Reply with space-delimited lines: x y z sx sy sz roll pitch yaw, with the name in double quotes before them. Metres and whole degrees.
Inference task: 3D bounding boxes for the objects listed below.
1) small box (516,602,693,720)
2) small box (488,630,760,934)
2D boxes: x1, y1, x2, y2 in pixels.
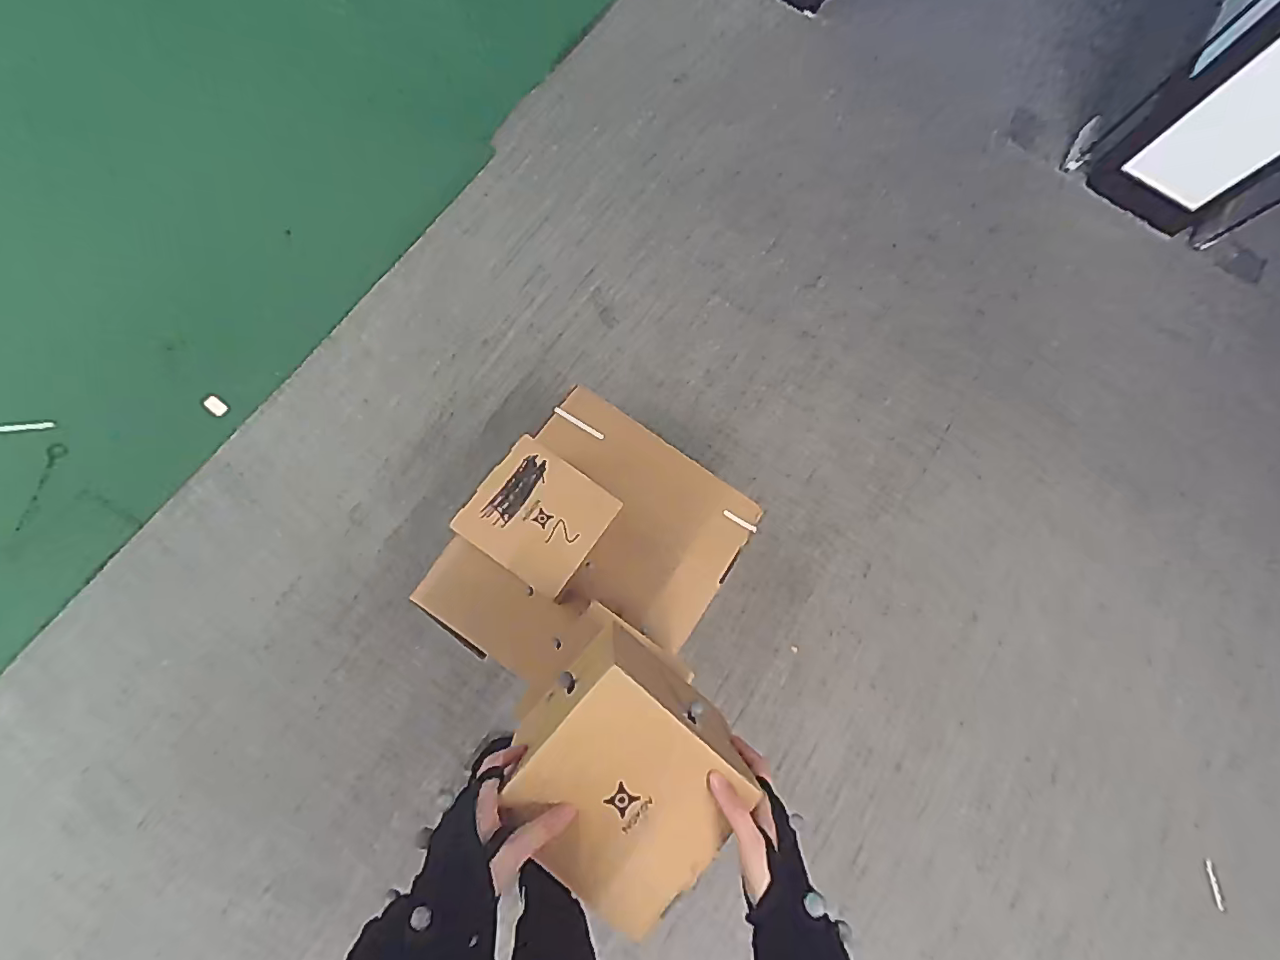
"small box" -0.053 0.291 0.768 0.168 0.176 0.179 36 75 2
"small box" -0.019 0.272 0.539 0.179 0.176 0.168 42 86 -3
